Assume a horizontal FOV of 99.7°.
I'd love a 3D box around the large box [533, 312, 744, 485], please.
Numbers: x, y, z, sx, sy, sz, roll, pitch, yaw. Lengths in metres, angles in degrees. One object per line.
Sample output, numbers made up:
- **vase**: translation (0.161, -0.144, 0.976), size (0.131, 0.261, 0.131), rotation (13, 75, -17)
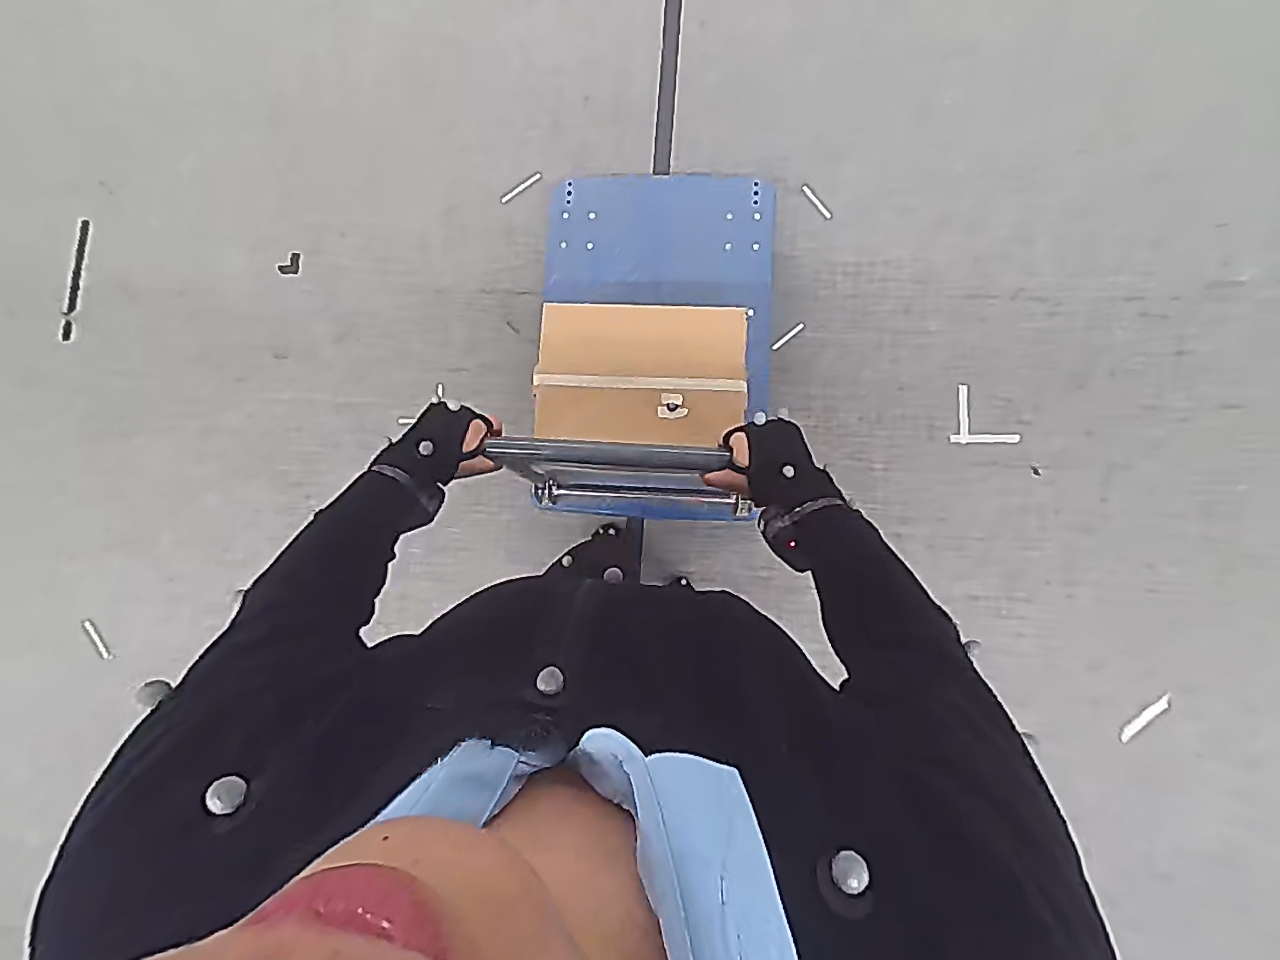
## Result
- **large box**: translation (0.004, -0.160, 1.190), size (0.408, 0.320, 0.320), rotation (3, 86, 4)
